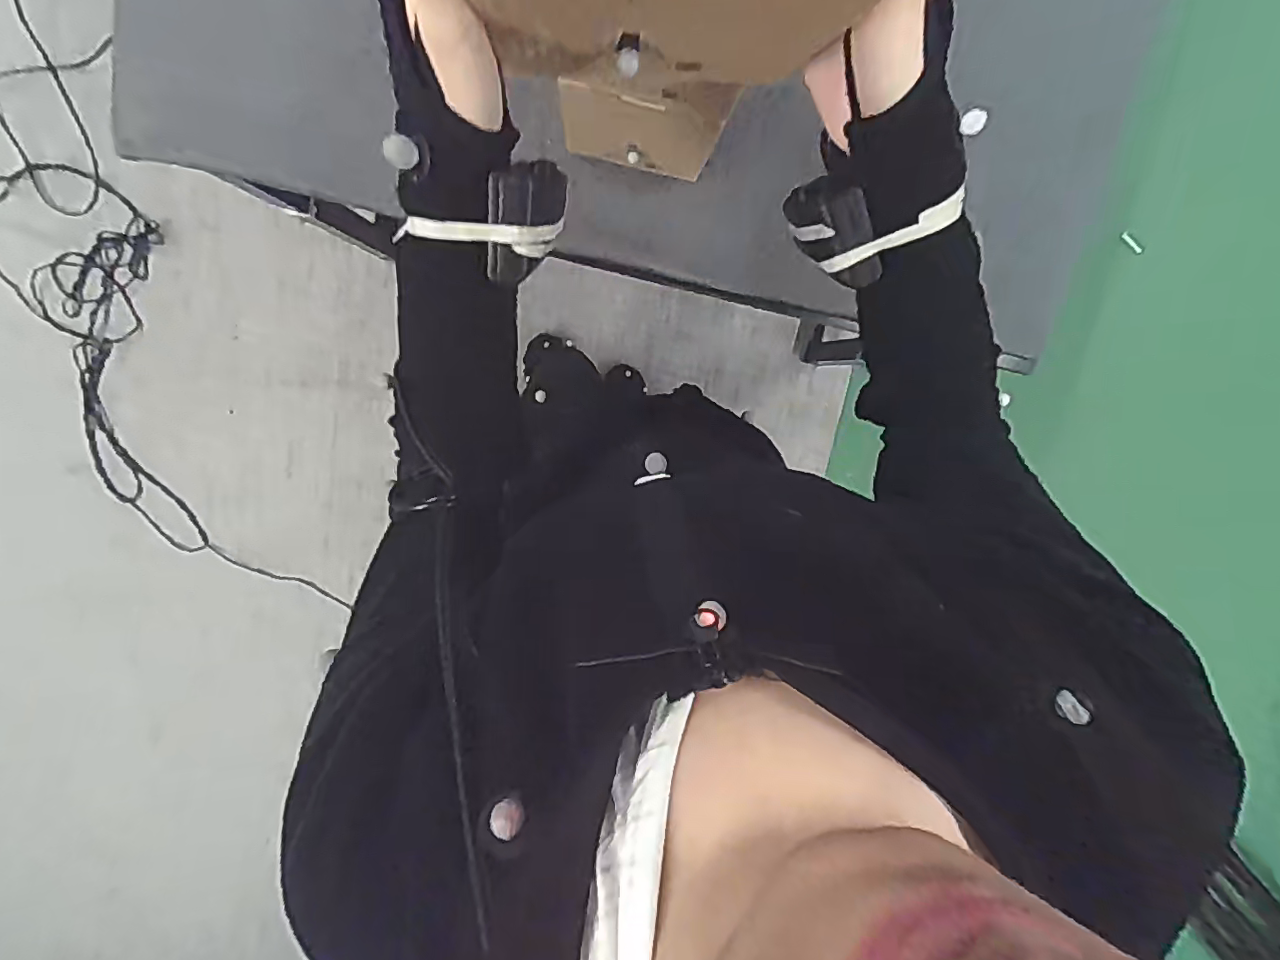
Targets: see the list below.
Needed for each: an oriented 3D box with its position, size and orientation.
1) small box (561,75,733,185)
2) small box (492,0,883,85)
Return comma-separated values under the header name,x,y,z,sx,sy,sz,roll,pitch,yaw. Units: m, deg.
name,x,y,z,sx,sy,sz,roll,pitch,yaw
small box,0.012,-0.456,0.586,0.168,0.176,0.179,10,100,-6
small box,0.013,-0.283,0.209,0.168,0.176,0.179,-2,115,-6
